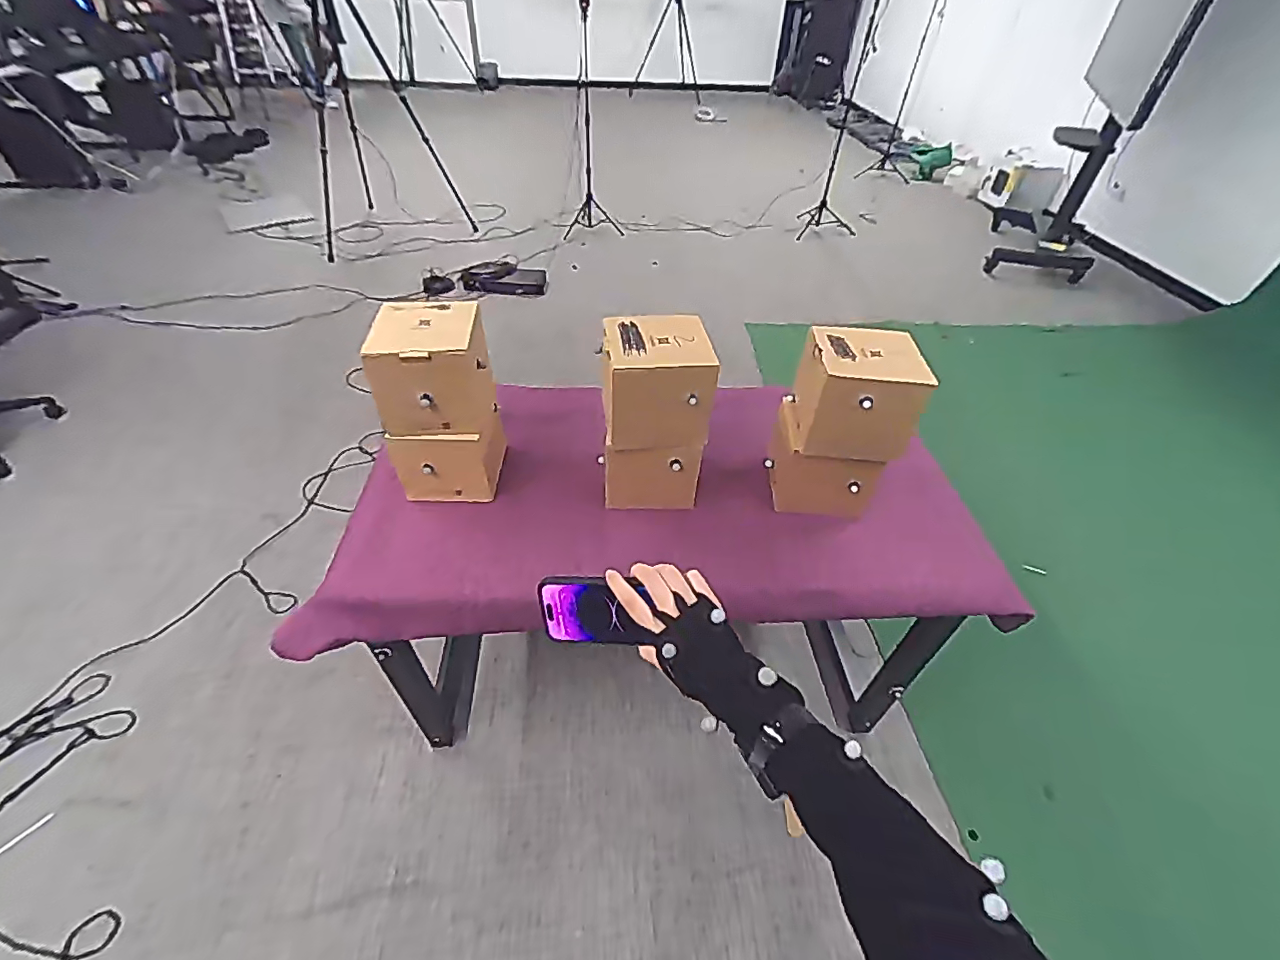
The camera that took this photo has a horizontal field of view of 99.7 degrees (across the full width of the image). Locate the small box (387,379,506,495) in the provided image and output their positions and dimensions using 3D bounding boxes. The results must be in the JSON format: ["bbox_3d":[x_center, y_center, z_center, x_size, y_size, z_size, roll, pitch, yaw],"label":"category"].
[{"bbox_3d":[-0.369,-0.084,1.071,0.168,0.176,0.179,1,45,-2],"label":"small box"}]

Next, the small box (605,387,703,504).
[{"bbox_3d":[0.021,-0.065,1.072,0.179,0.176,0.168,1,45,-2],"label":"small box"}]

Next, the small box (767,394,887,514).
[{"bbox_3d":[0.361,-0.049,1.077,0.179,0.176,0.168,5,44,2],"label":"small box"}]

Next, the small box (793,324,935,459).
[{"bbox_3d":[0.377,-0.154,0.952,0.179,0.176,0.168,5,44,1],"label":"small box"}]

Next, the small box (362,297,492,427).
[{"bbox_3d":[-0.363,-0.207,0.961,0.168,0.176,0.179,-2,46,-6],"label":"small box"}]
